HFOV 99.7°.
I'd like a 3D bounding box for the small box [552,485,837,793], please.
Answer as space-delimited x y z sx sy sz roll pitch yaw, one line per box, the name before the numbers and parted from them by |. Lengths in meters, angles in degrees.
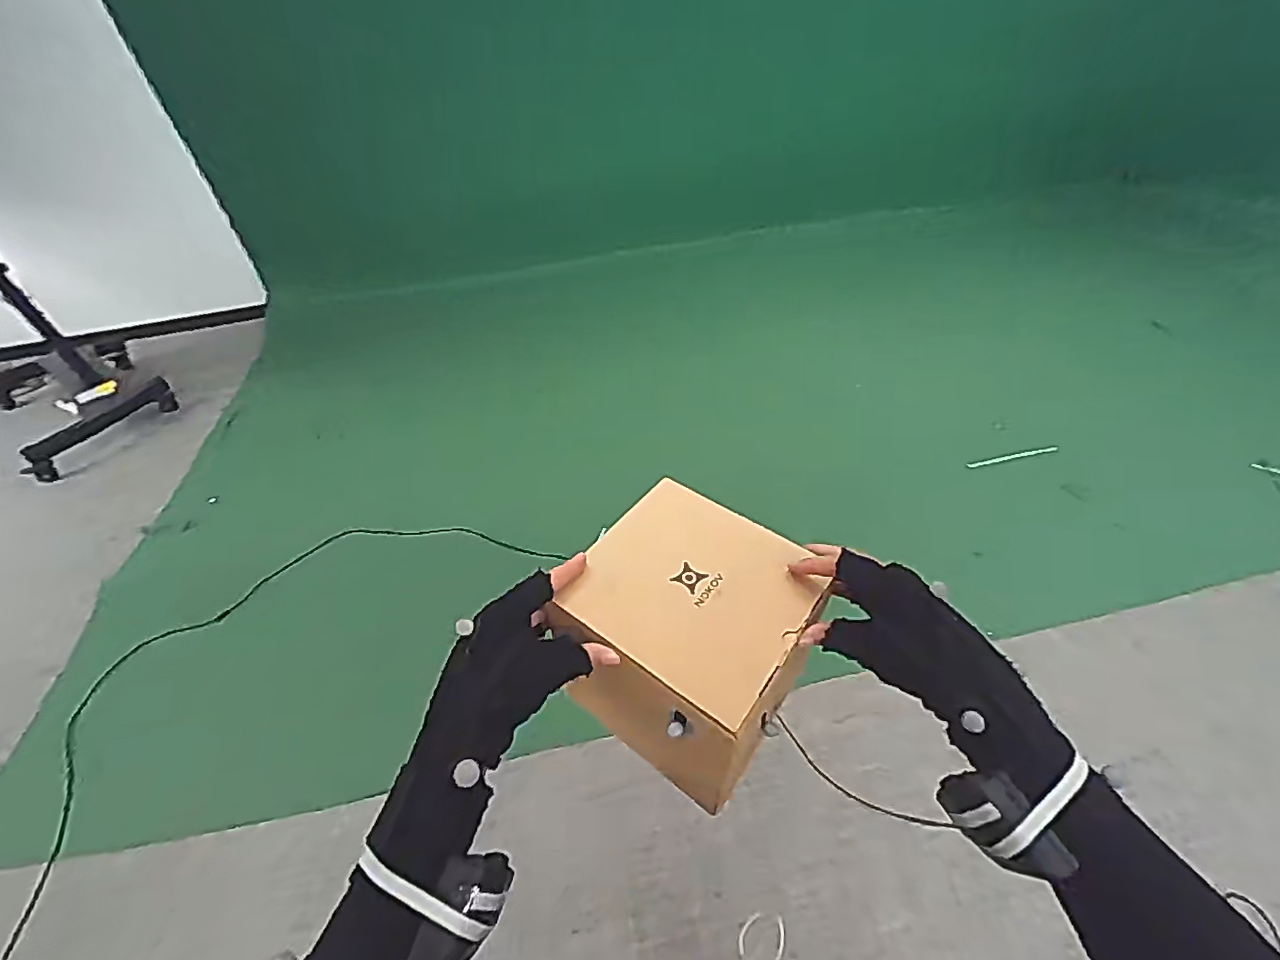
small box | 0.043 0.141 0.489 0.179 0.176 0.168 30 51 26
